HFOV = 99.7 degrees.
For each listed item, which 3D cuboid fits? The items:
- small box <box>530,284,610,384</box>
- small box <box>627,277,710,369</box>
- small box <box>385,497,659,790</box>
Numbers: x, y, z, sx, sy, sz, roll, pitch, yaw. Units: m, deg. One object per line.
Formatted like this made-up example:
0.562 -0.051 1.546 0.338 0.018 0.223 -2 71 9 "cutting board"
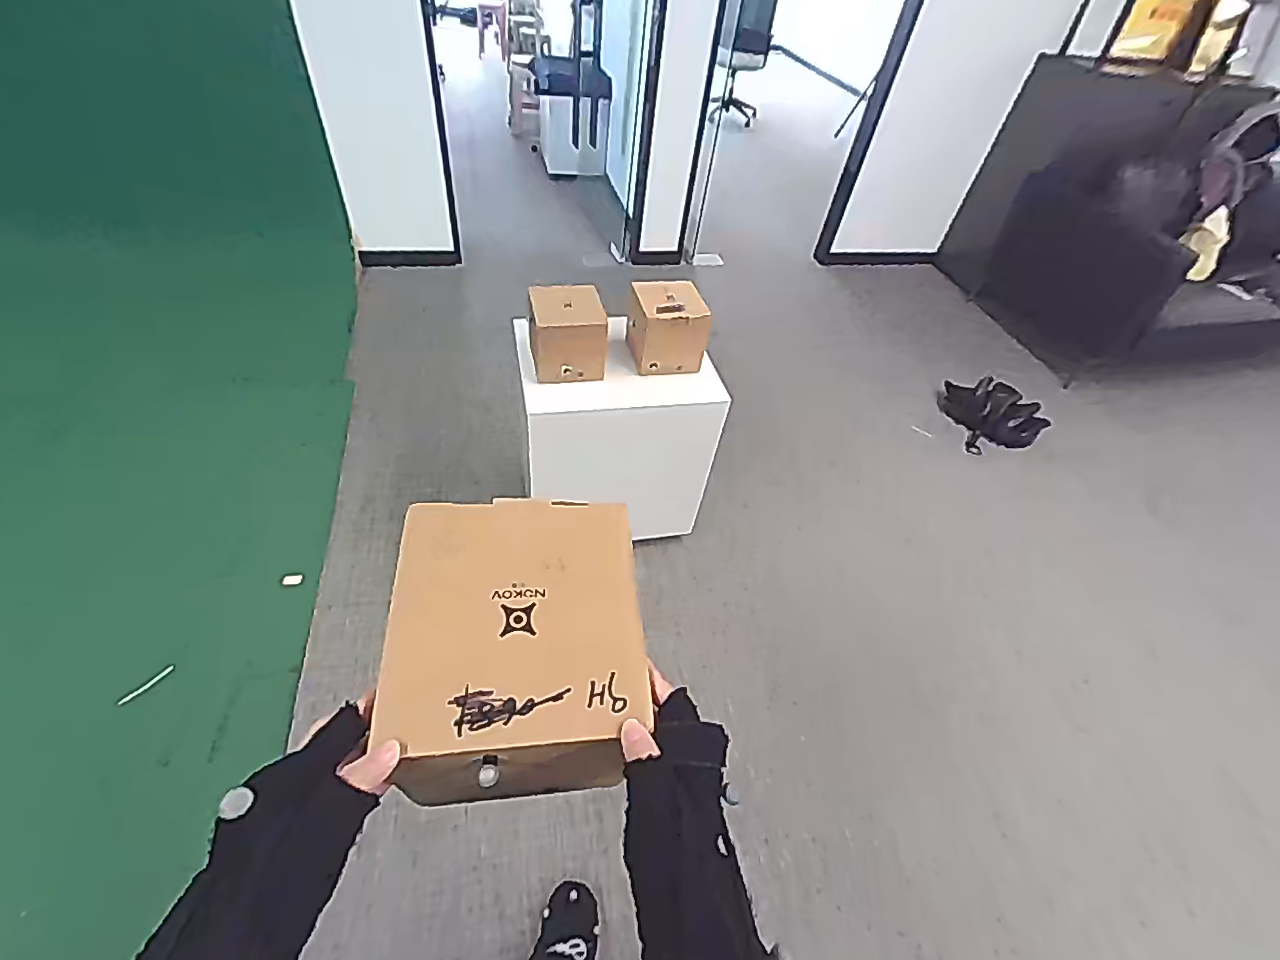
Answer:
-0.177 -0.358 1.328 0.168 0.176 0.179 -8 51 -14 "small box"
0.067 -0.399 1.392 0.168 0.176 0.179 -7 49 -13 "small box"
-0.087 0.131 0.437 0.168 0.176 0.179 -1 53 -10 "small box"
